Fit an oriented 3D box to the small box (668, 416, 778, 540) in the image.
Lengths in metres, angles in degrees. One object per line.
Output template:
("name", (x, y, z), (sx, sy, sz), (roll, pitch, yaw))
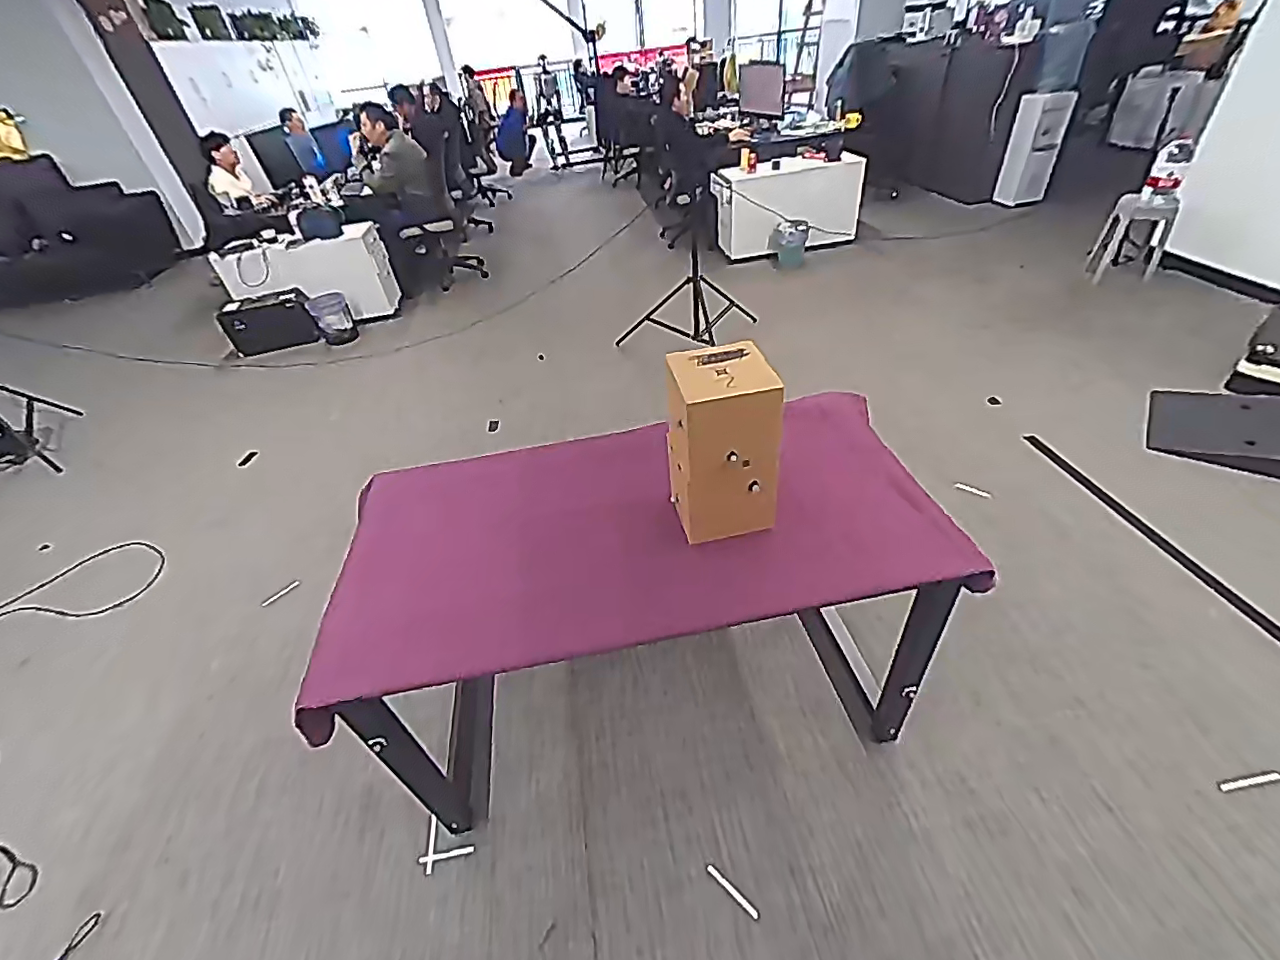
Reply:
("small box", (0.161, -0.003, 1.086), (0.179, 0.176, 0.168), (-12, 39, -4))
